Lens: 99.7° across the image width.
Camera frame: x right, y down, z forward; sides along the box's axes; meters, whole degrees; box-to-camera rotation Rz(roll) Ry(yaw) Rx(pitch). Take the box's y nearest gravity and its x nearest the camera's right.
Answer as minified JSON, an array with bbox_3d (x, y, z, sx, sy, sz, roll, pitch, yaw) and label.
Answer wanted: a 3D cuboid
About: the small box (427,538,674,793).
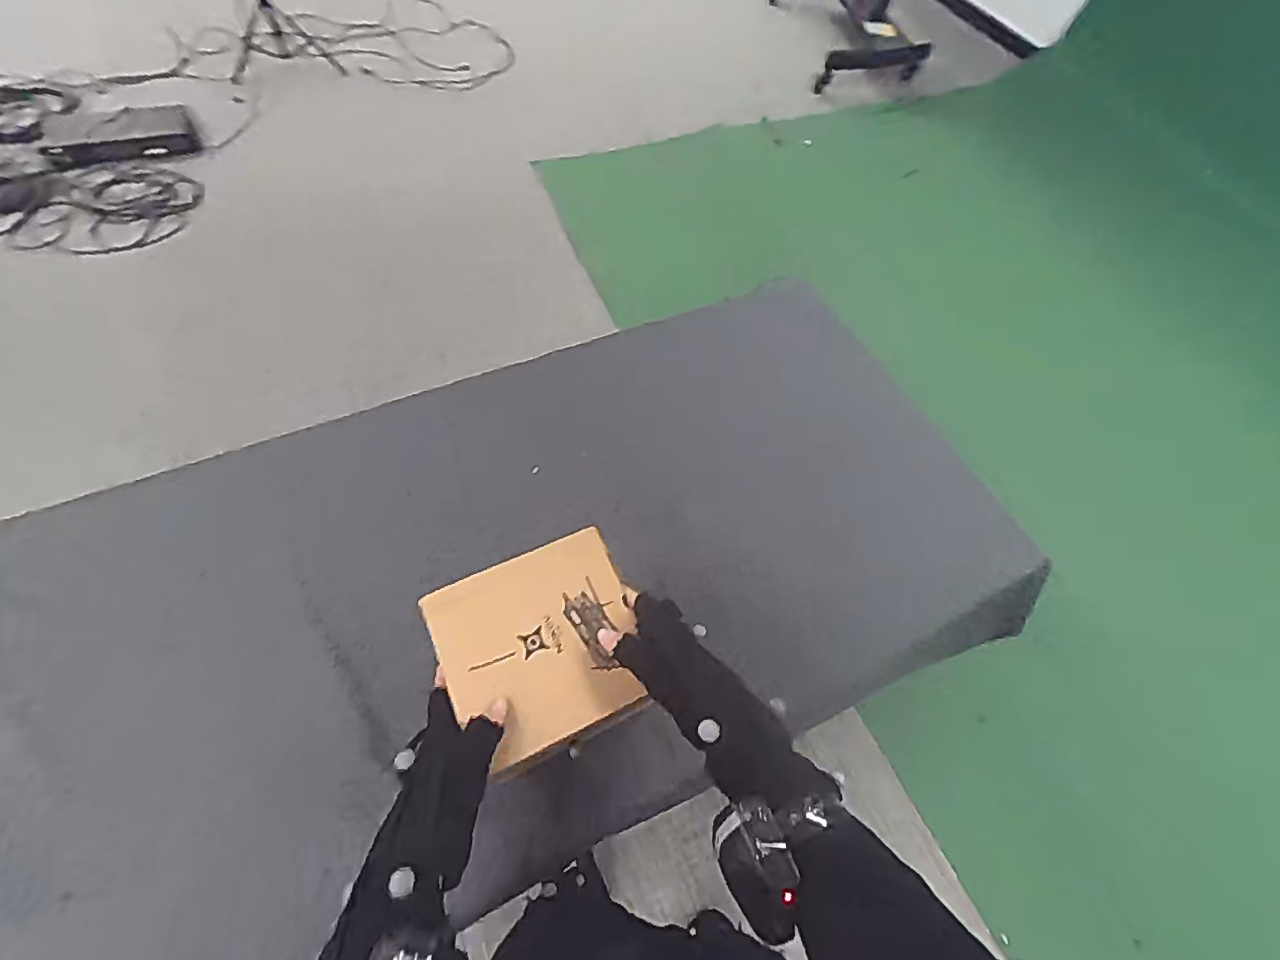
[{"bbox_3d":[-0.091,0.190,0.554,0.179,0.176,0.168,-23,67,-19],"label":"small box"}]
